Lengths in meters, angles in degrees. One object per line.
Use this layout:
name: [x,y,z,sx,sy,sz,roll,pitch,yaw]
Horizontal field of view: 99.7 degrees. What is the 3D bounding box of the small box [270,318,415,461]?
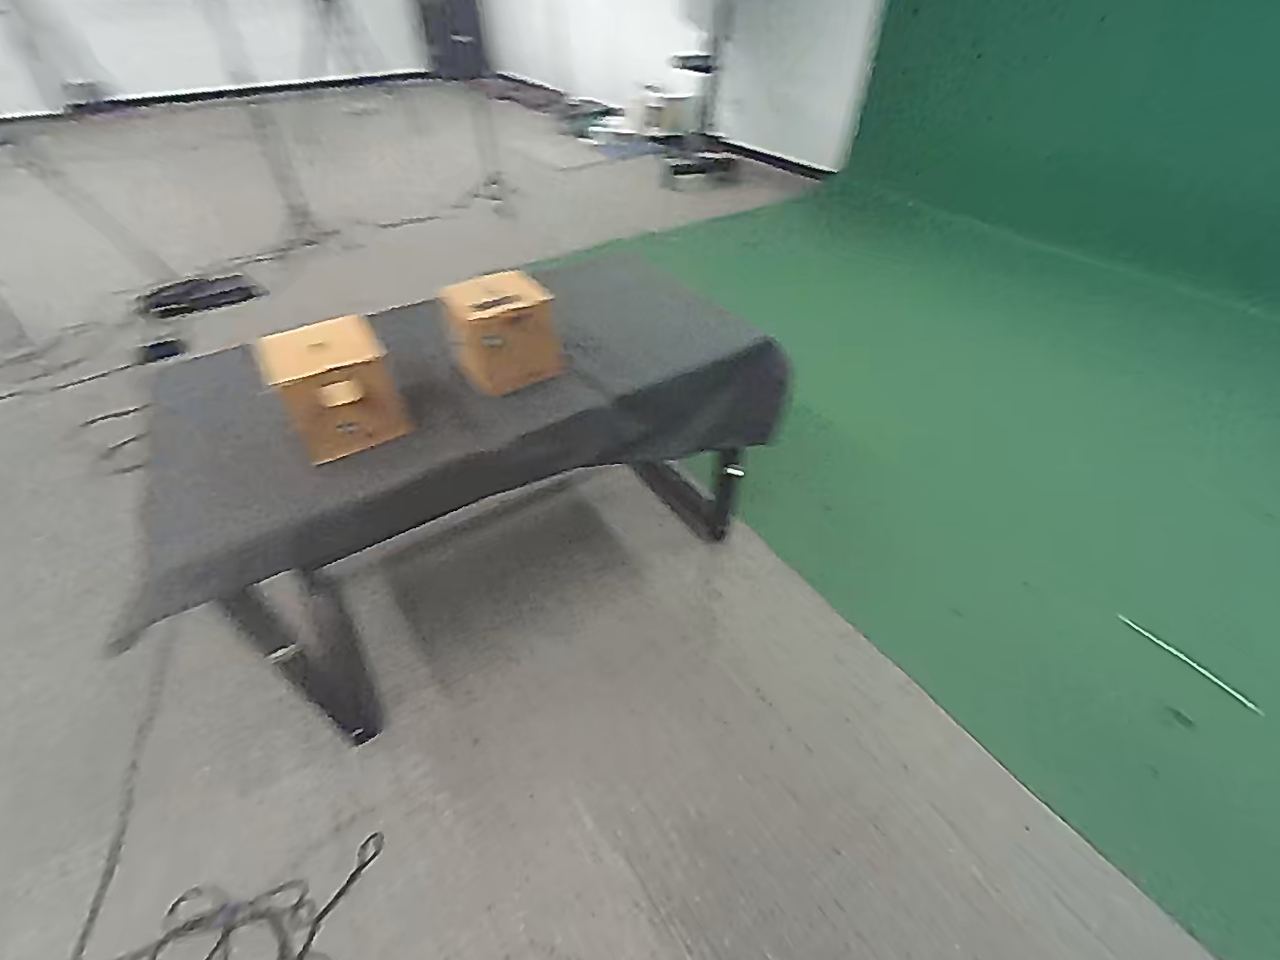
small box: [-0.530,-0.163,0.972,0.168,0.176,0.179,-25,49,-24]
